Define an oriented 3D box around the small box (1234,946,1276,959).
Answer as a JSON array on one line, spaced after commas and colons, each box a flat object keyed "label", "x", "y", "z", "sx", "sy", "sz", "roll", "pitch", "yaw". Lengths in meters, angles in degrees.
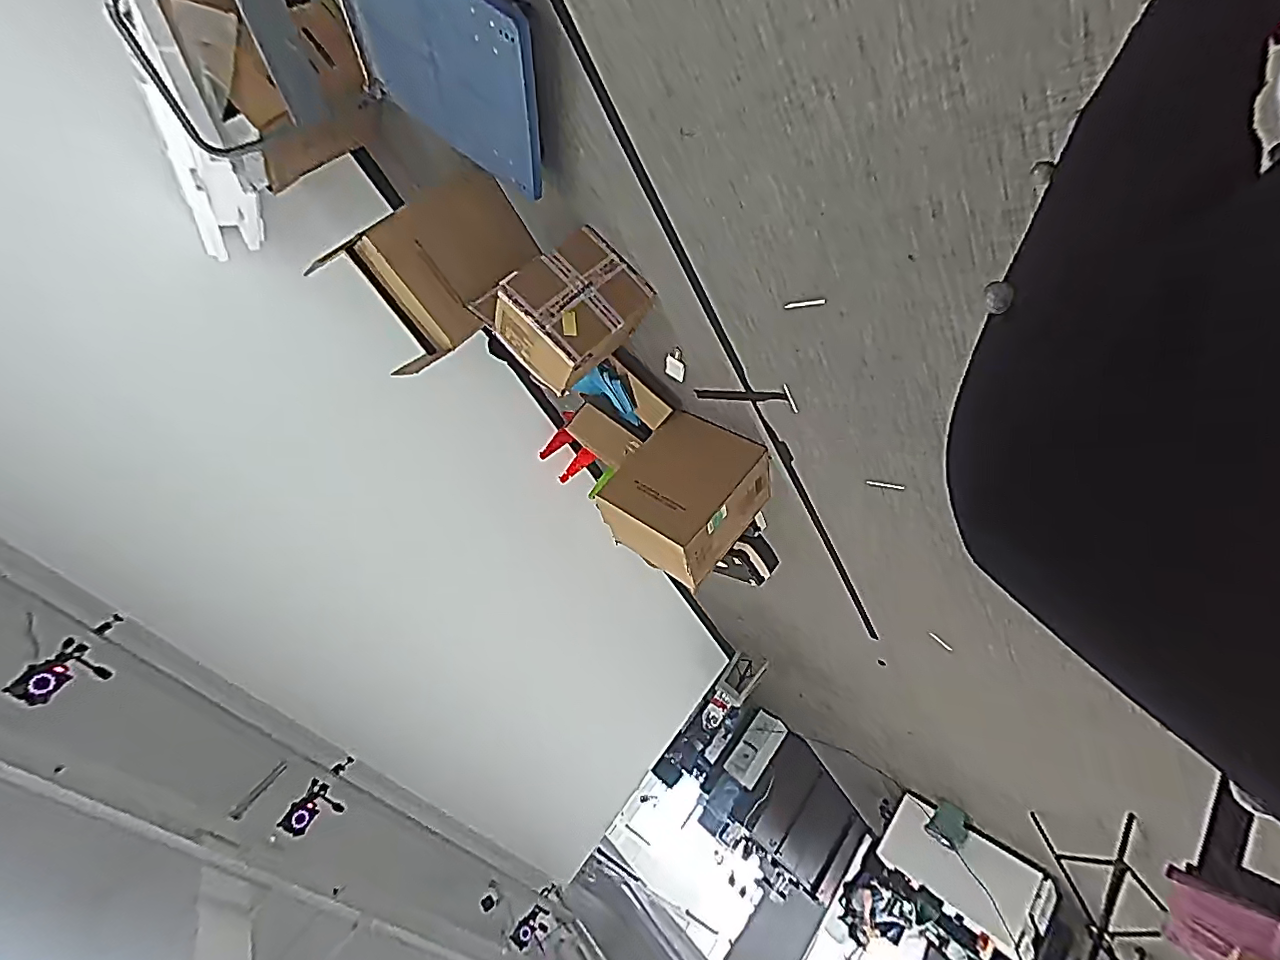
[{"label": "small box", "x": 1.460, "y": 1.213, "z": 1.215, "sx": 0.179, "sy": 0.176, "sz": 0.168, "roll": 20, "pitch": 148, "yaw": 48}]
